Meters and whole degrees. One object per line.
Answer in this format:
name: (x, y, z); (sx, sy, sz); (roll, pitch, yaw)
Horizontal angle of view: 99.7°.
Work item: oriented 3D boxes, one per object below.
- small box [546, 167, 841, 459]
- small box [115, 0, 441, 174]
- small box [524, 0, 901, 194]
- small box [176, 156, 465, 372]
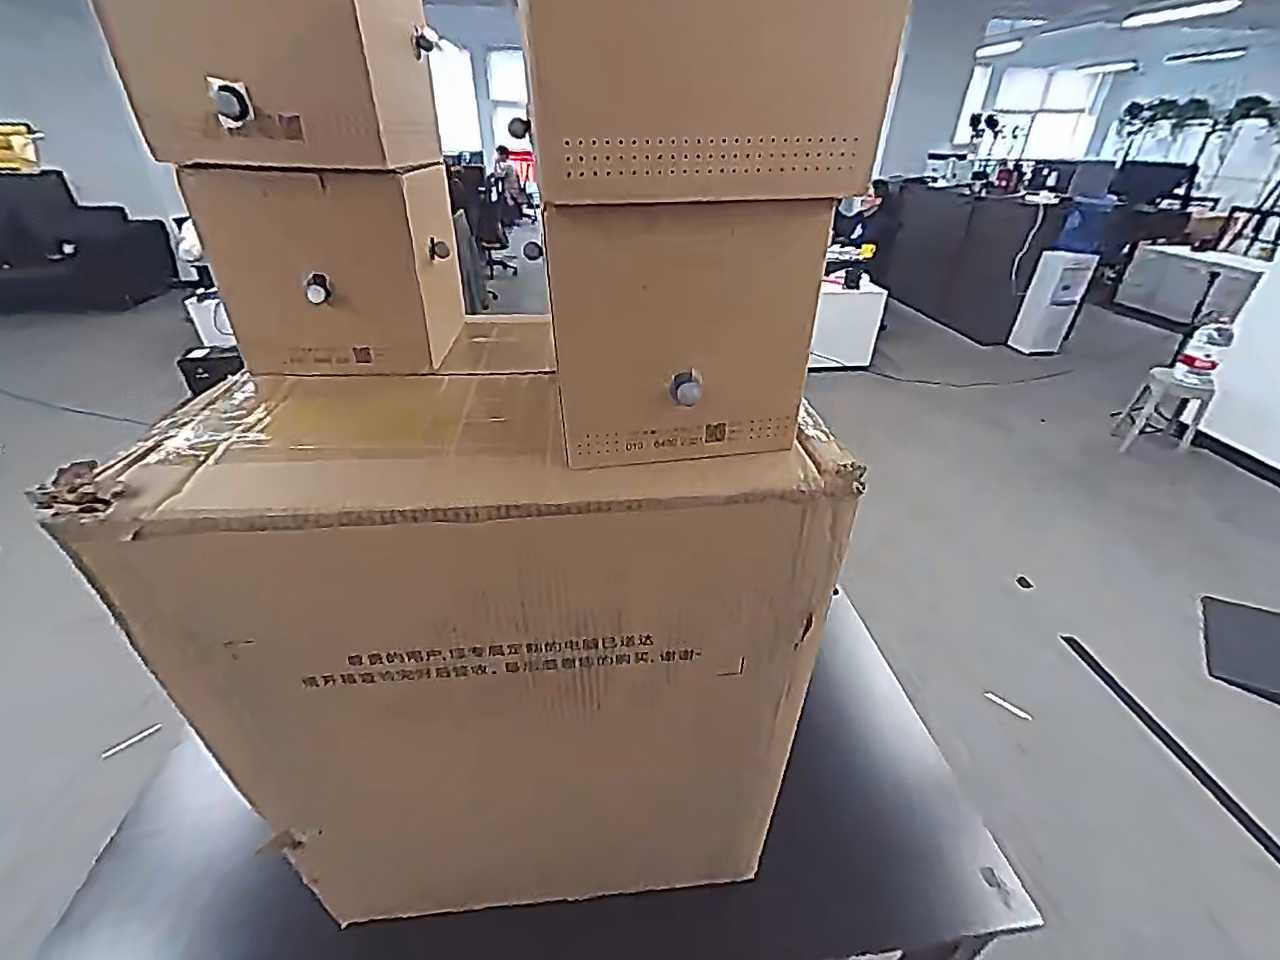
small box: (0.020, -0.133, 0.403); (0.168, 0.176, 0.179); (-6, 34, -7)
small box: (-0.264, -0.340, 0.417); (0.168, 0.176, 0.179); (-2, 33, -4)
small box: (0.027, -0.257, 0.293); (0.179, 0.176, 0.168); (-6, 35, -9)
small box: (-0.272, -0.210, 0.518); (0.168, 0.176, 0.179); (-2, 33, -6)
